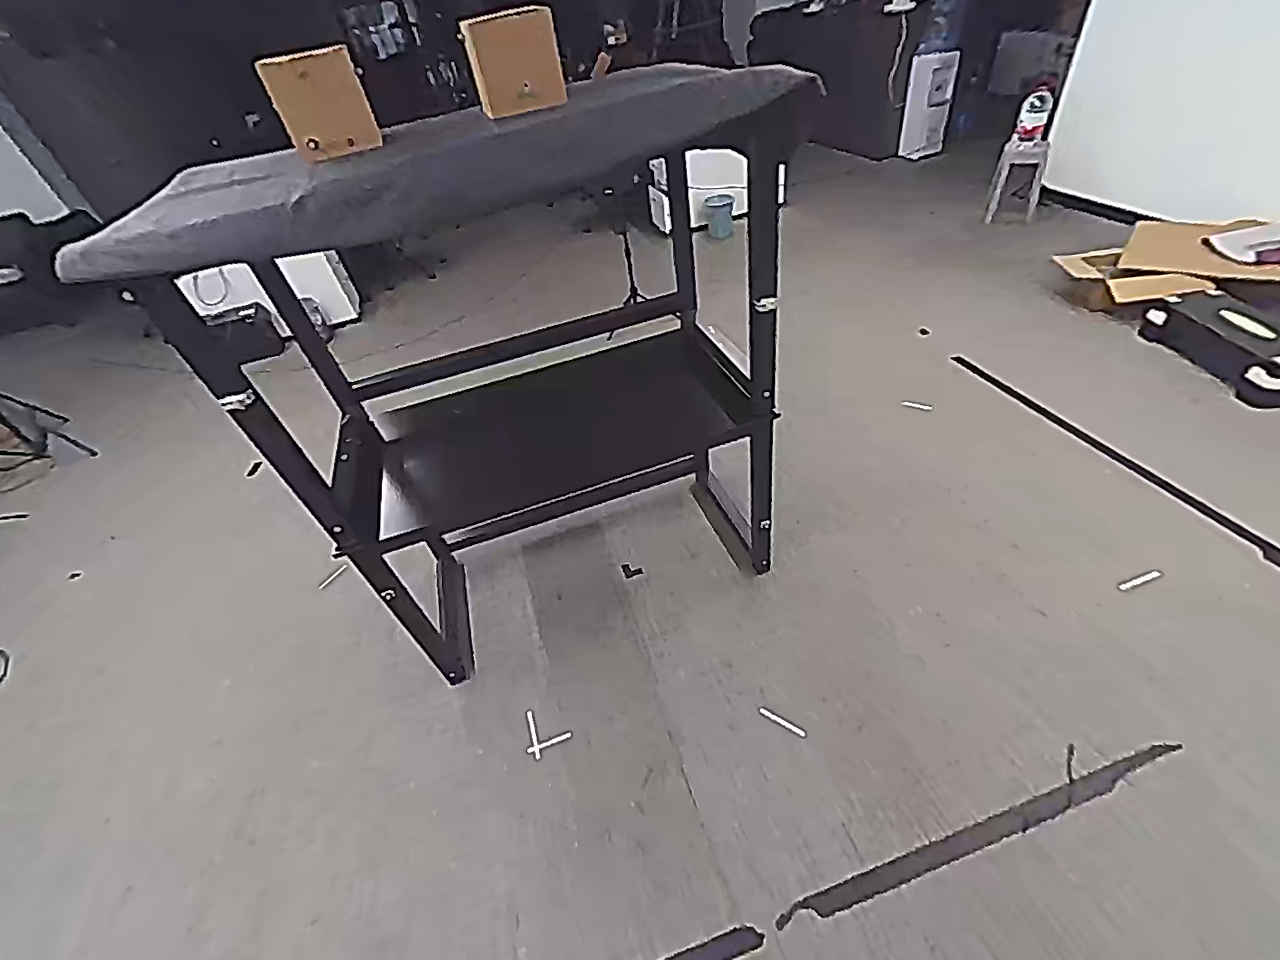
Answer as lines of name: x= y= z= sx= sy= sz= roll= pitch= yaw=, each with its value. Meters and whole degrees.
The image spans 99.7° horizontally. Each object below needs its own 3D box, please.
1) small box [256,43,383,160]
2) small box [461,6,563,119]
small box: x=-0.655 y=-0.786 z=1.127 sx=0.168 sy=0.176 sz=0.179 roll=-21 pitch=43 yaw=-11
small box: x=-0.276 y=-0.921 z=1.191 sx=0.179 sy=0.176 sz=0.168 roll=-18 pitch=43 yaw=-9
